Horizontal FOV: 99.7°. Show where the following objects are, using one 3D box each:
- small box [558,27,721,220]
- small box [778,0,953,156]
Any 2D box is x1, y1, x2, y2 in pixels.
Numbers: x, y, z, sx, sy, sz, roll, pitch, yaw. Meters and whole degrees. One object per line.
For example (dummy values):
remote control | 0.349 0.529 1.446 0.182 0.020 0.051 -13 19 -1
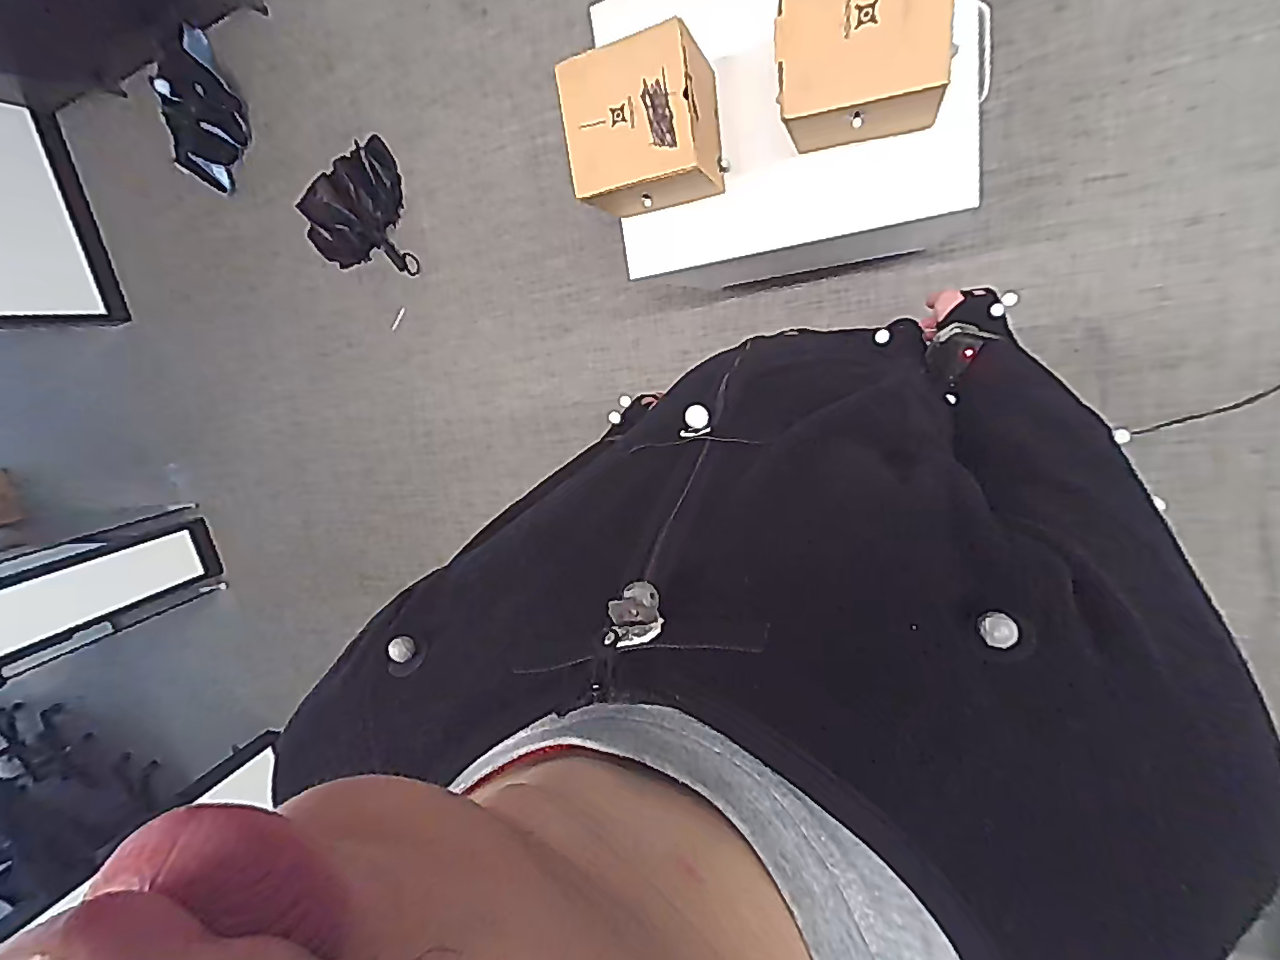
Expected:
small box | 0.012 -0.483 0.765 0.179 0.176 0.168 -2 105 24
small box | 0.268 -0.512 0.651 0.179 0.176 0.168 1 108 22
